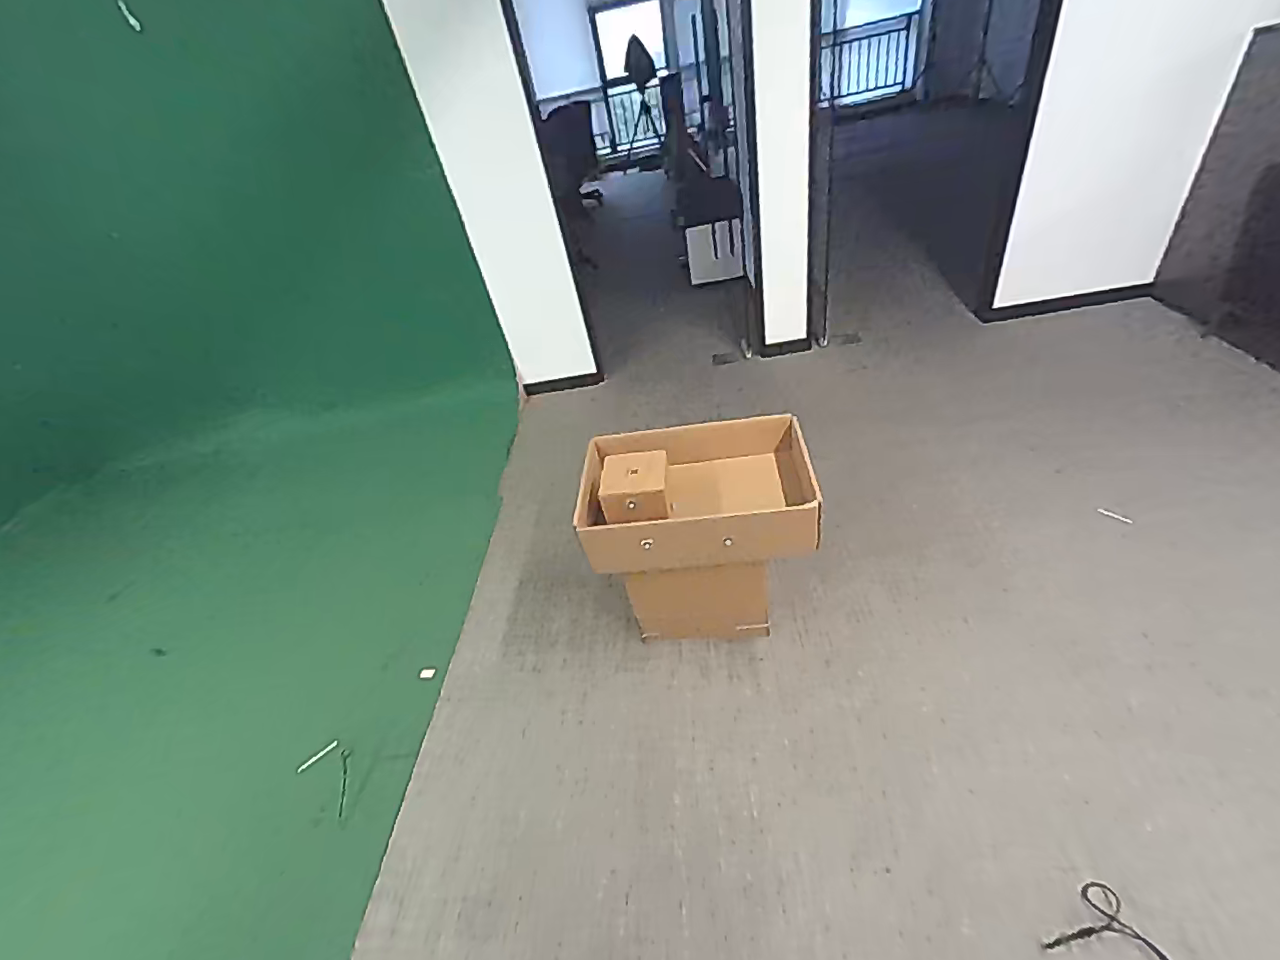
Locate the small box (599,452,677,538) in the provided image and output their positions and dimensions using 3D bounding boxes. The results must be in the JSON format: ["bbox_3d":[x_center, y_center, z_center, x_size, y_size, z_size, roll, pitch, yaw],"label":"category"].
[{"bbox_3d":[-0.001,0.045,1.495,0.179,0.176,0.168,-7,40,11],"label":"small box"}]
